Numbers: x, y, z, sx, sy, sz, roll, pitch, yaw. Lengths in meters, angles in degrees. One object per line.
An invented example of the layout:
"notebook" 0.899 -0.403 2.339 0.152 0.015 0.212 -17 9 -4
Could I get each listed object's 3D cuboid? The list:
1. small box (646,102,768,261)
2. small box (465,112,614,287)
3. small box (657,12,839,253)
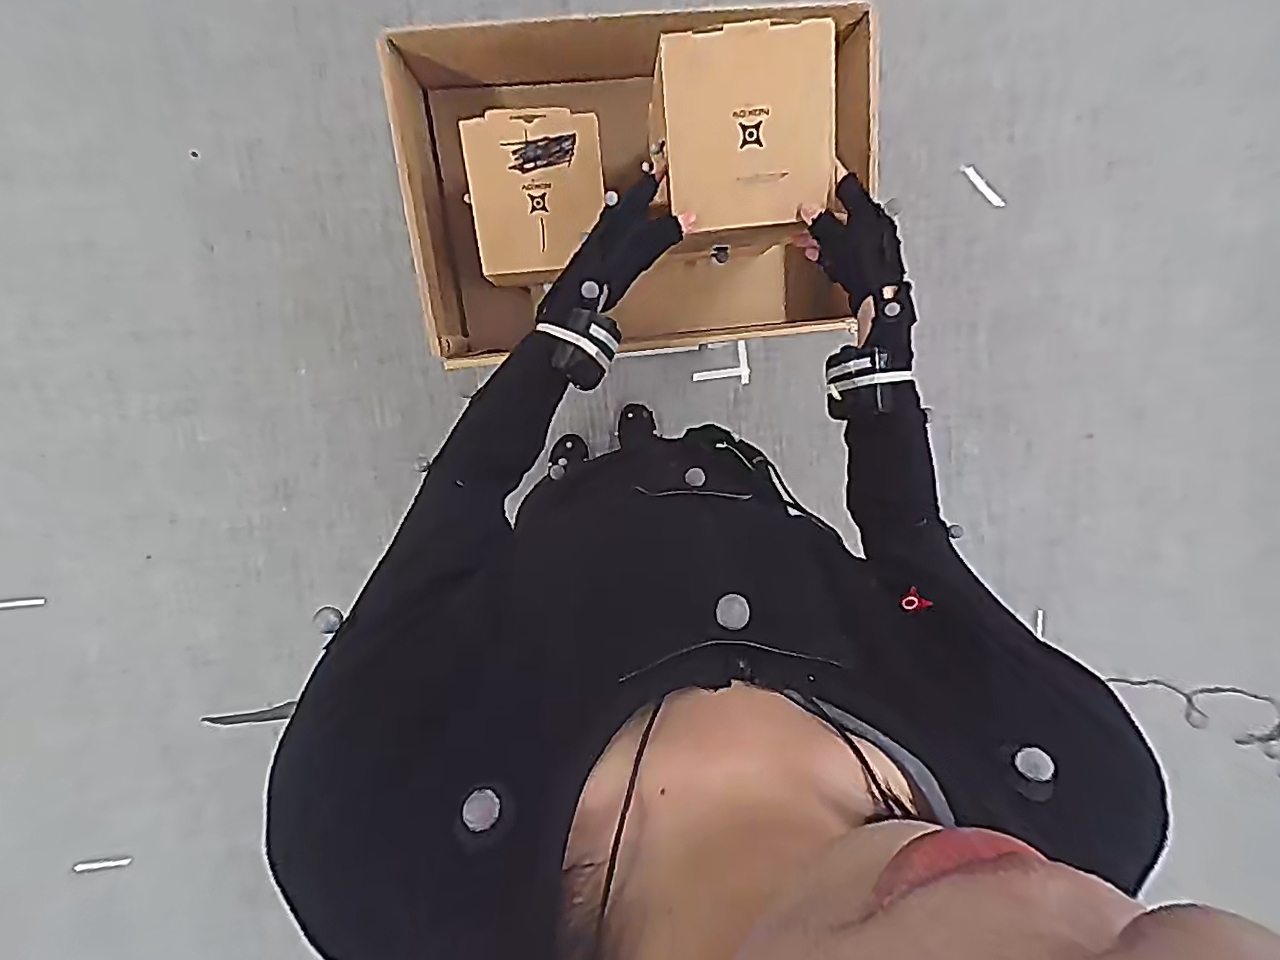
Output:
"small box" 0.105 -0.410 0.755 0.179 0.176 0.168 -6 104 -1
"small box" -0.131 -0.370 0.741 0.168 0.176 0.179 -7 105 -4
"small box" 0.109 -0.363 0.599 0.168 0.176 0.179 -6 106 1
